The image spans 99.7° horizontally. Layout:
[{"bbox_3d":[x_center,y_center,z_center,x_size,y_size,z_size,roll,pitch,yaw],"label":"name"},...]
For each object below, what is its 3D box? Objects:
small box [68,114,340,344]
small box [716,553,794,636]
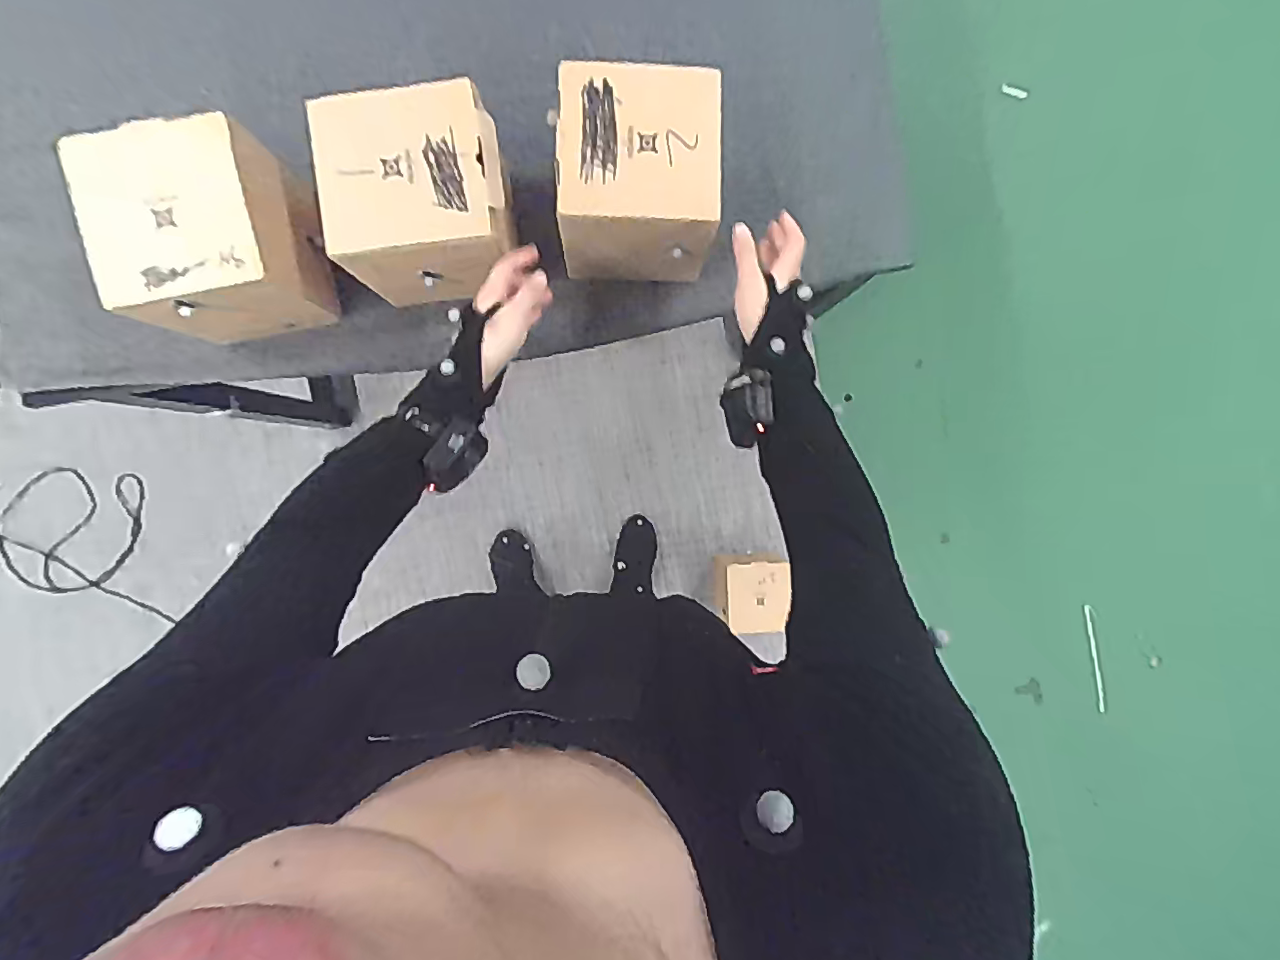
[{"bbox_3d":[-0.484,-0.276,0.629,0.168,0.176,0.179,-12,92,-2],"label":"small box"},{"bbox_3d":[0.295,0.293,1.409,0.168,0.176,0.179,-2,92,-2],"label":"small box"}]
